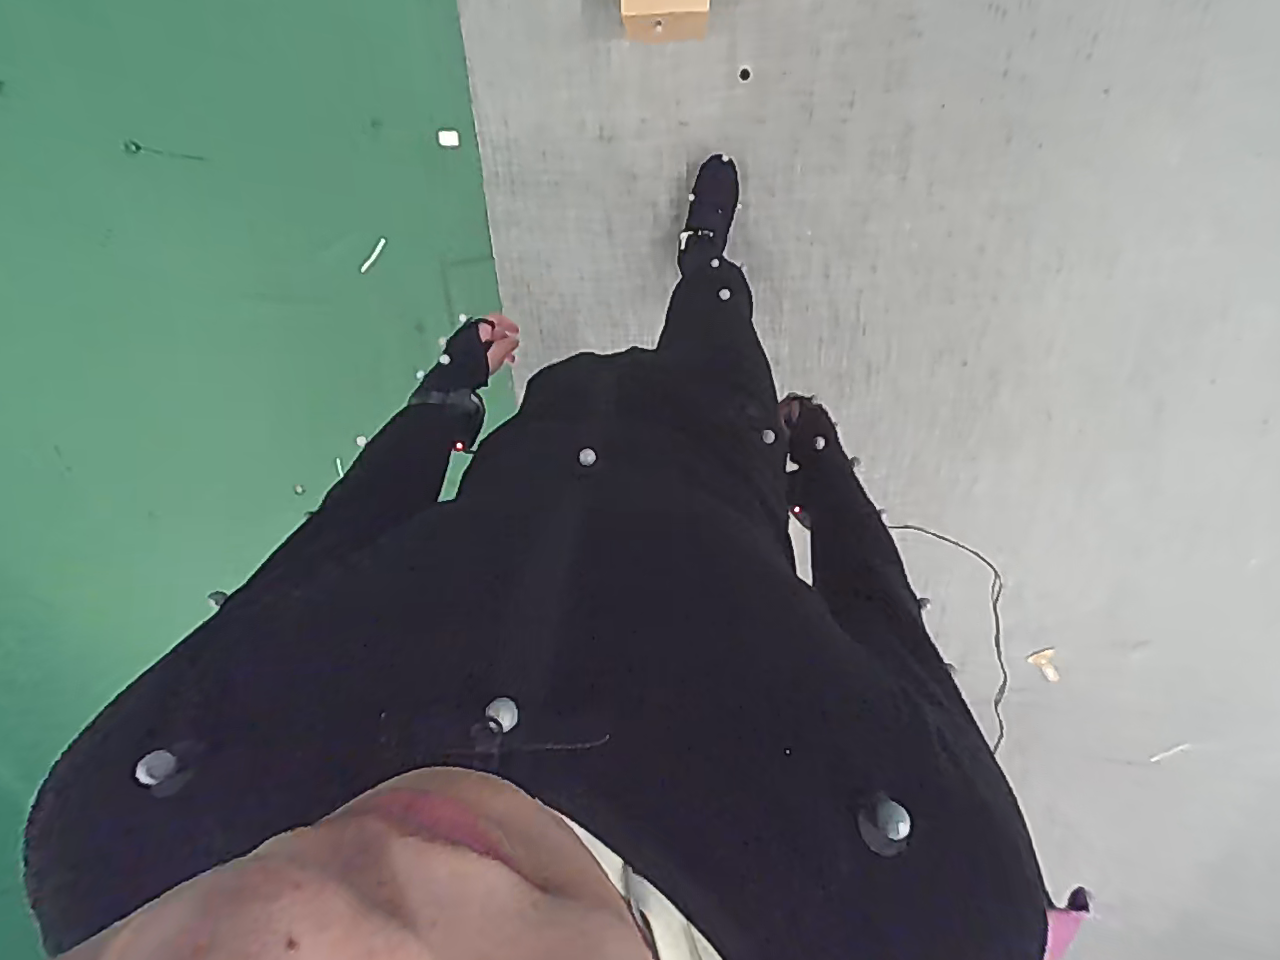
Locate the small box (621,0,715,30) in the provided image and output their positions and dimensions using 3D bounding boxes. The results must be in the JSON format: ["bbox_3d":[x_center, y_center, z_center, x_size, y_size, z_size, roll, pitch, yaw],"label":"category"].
[{"bbox_3d":[0.061,-1.019,1.070,0.179,0.176,0.168,3,117,7],"label":"small box"}]

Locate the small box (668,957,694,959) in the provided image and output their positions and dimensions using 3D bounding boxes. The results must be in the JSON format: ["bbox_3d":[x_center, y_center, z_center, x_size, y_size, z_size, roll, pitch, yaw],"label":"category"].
[{"bbox_3d":[0.152,1.458,1.487,0.168,0.176,0.179,0,117,8],"label":"small box"}]
